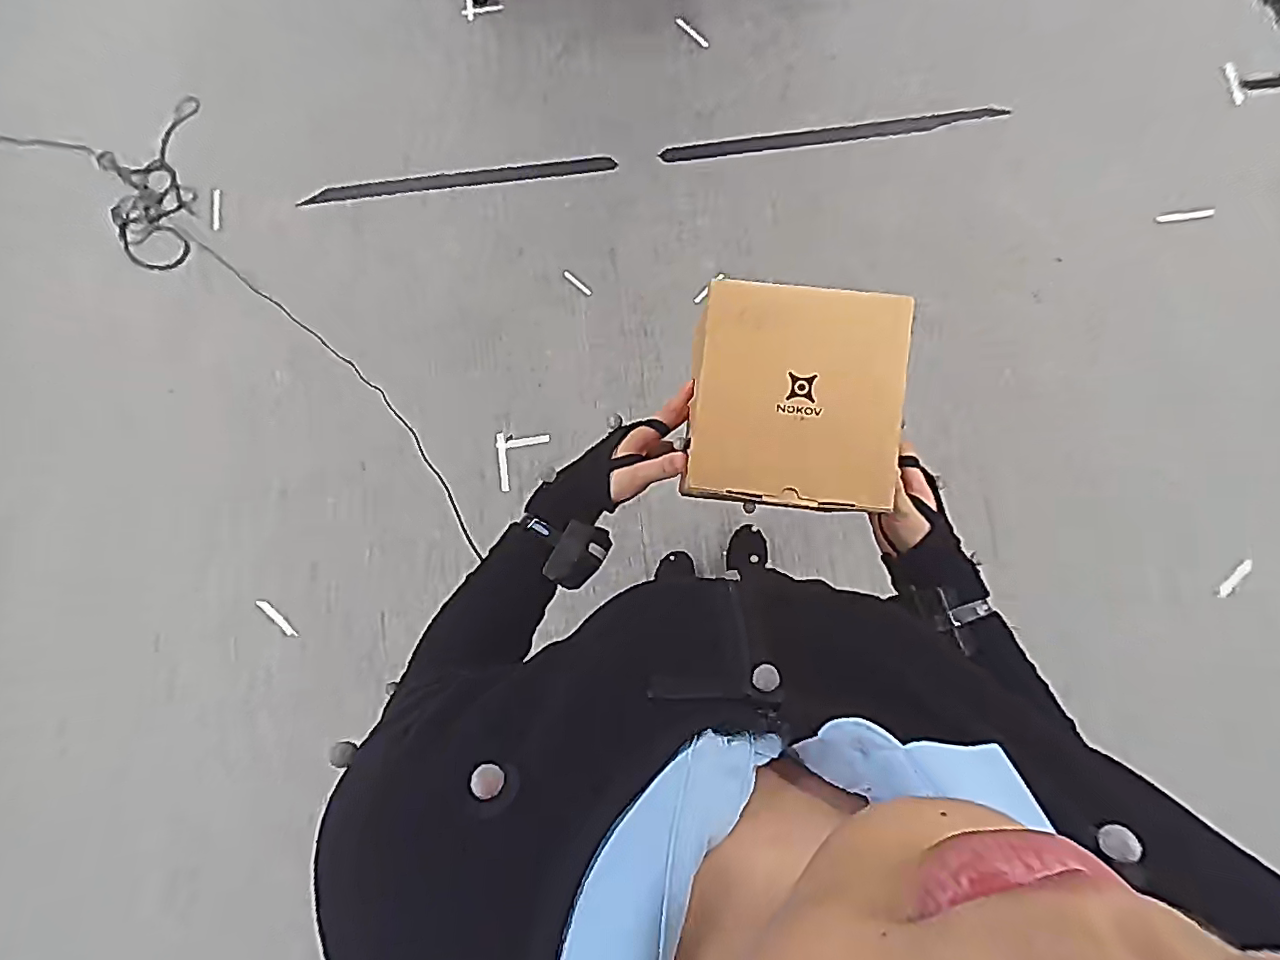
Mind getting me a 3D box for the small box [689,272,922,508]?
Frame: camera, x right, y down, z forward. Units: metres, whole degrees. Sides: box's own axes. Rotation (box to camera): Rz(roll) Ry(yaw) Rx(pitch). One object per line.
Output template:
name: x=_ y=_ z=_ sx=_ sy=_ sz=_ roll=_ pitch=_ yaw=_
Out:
small box: x=0.137 y=-0.068 z=0.504 sx=0.168 sy=0.176 sz=0.179 roll=5 pitch=87 yaw=3
